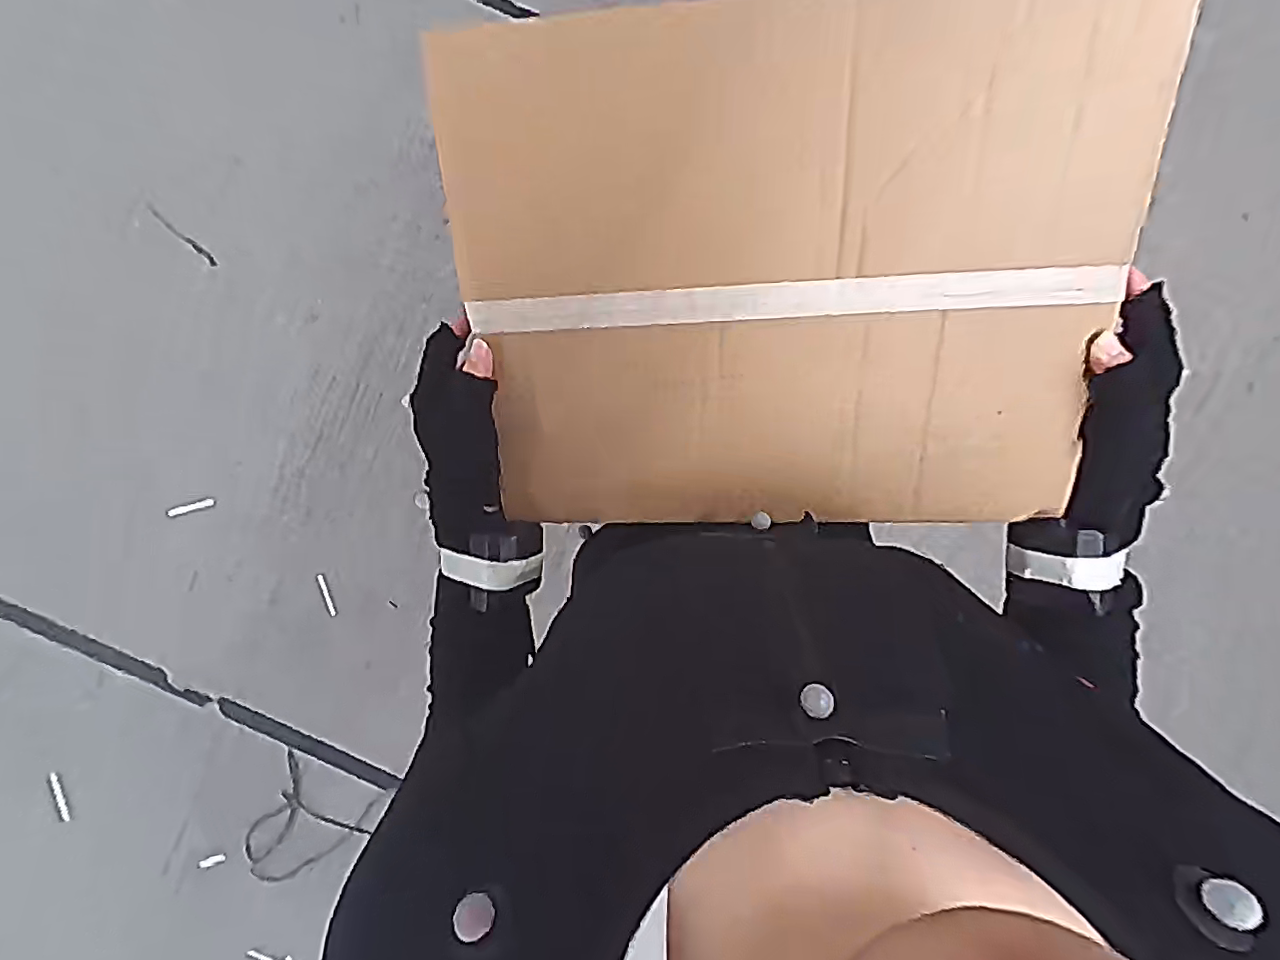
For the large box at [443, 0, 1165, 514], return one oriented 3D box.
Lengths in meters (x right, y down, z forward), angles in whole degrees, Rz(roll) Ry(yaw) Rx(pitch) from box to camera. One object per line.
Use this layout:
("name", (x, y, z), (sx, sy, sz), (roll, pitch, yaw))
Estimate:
("large box", (0.099, -0.177, 0.494), (0.408, 0.320, 0.320), (-1, 114, 6))
